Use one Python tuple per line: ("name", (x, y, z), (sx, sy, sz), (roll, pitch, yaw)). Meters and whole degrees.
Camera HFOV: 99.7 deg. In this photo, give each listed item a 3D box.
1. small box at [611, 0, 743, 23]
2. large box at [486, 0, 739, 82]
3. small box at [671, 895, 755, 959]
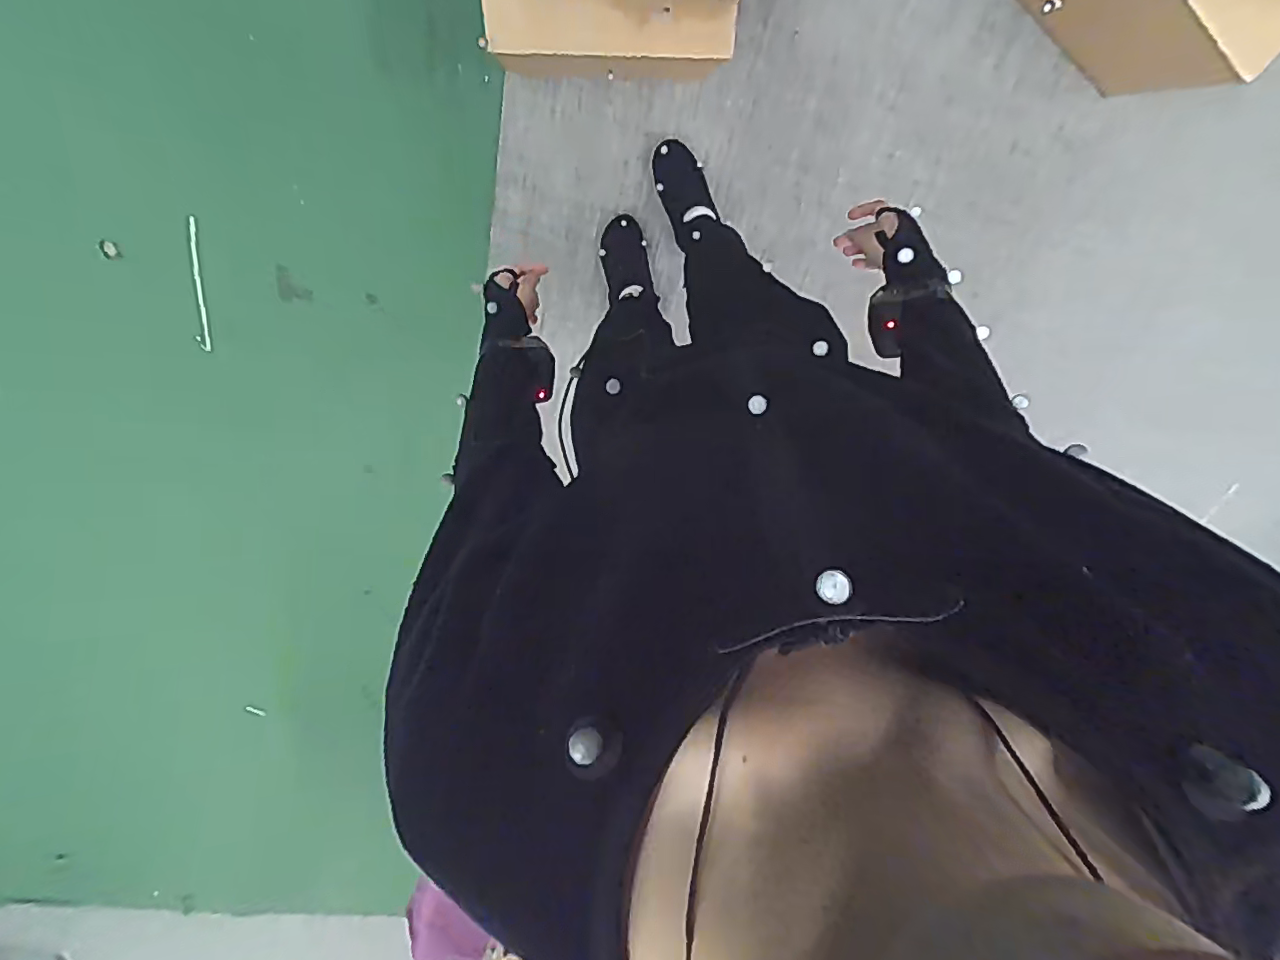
("small box", (0.053, -0.751, 0.738), (0.179, 0.176, 0.168), (2, 121, -6))
("large box", (-0.047, -0.891, 0.934), (0.408, 0.320, 0.320), (-1, 120, -3))
("small box", (0.190, 1.256, 1.463), (0.168, 0.176, 0.179), (13, 120, -11))
